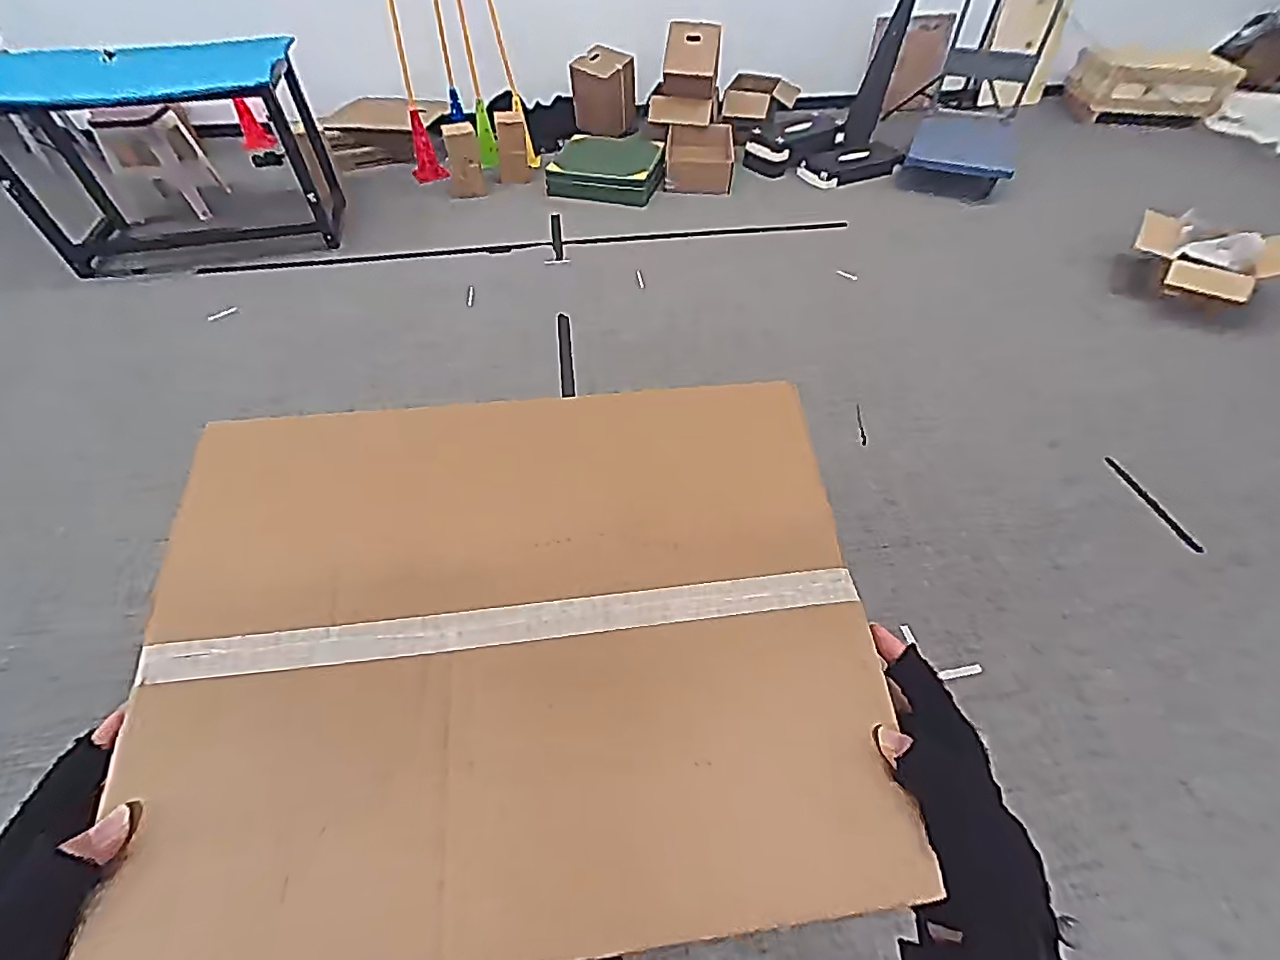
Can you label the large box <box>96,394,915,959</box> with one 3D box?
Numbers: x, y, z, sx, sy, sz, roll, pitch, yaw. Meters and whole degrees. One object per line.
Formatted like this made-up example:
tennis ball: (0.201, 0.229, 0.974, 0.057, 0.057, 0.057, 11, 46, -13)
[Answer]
large box: (-0.076, 0.156, 0.455, 0.408, 0.320, 0.320, -5, 64, -5)
